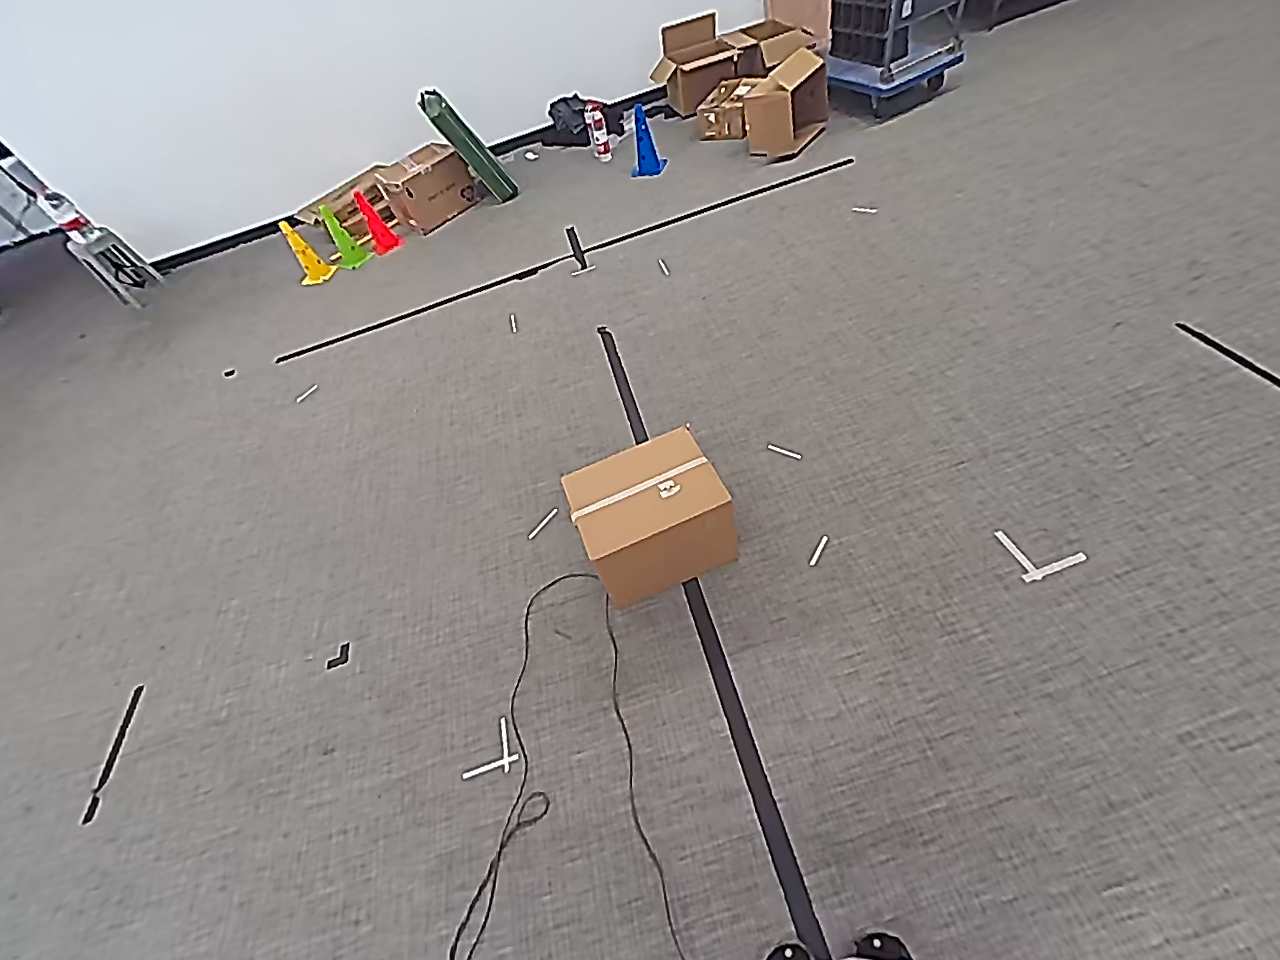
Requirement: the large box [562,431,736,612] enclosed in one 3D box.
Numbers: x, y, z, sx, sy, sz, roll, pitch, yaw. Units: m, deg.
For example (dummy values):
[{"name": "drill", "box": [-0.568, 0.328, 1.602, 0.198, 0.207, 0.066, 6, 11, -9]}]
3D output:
[{"name": "large box", "box": [0.031, 0.125, 1.603, 0.408, 0.320, 0.320, -23, 51, -5]}]
